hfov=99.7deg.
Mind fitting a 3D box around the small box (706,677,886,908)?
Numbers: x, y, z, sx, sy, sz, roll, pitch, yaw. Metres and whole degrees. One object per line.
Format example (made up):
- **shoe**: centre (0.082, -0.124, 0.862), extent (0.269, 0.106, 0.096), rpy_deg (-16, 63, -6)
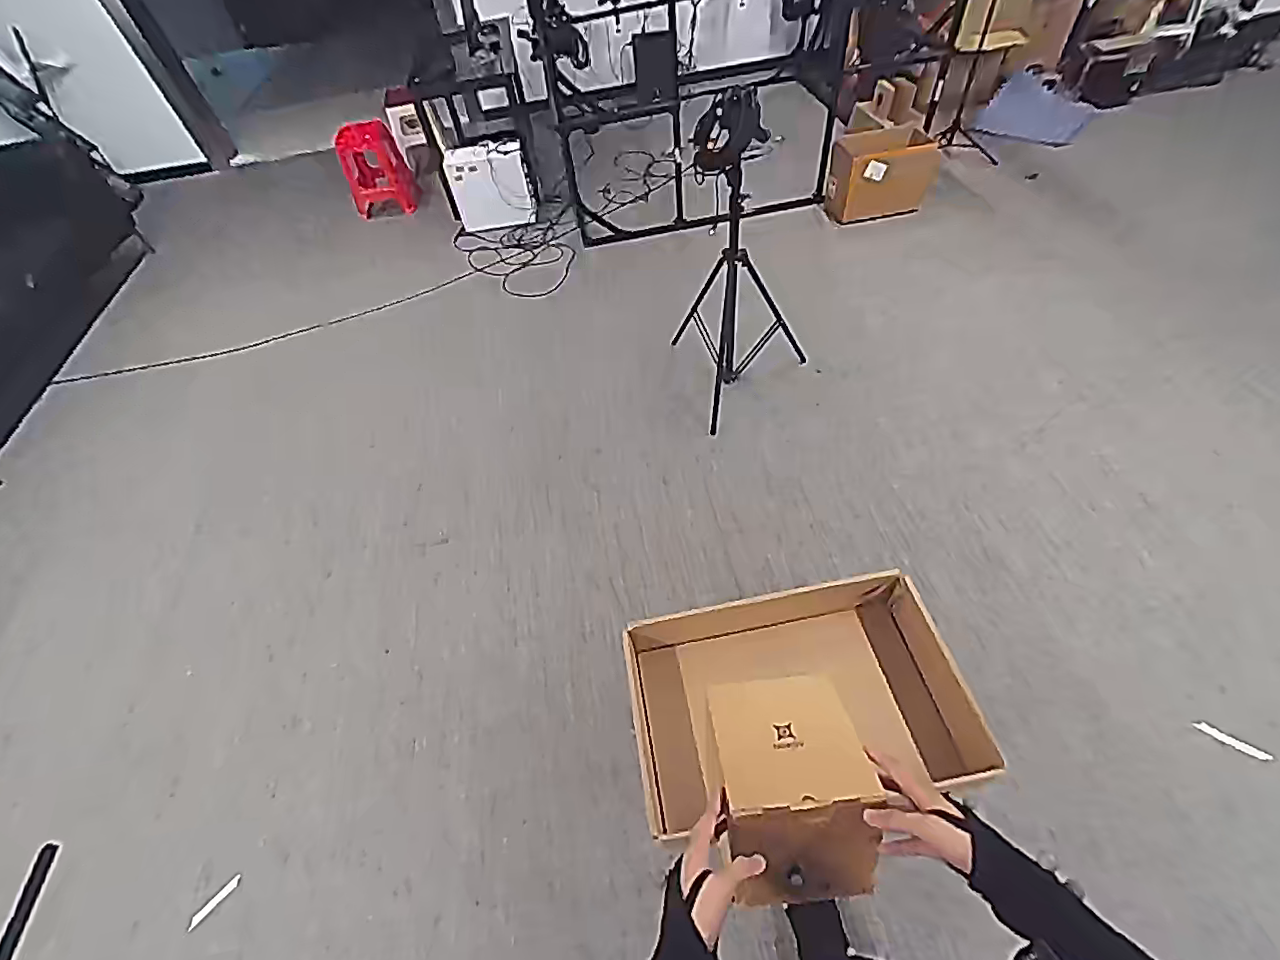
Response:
- **small box**: centre (0.174, 0.374, 0.663), extent (0.168, 0.176, 0.179), rpy_deg (-6, 25, -1)
